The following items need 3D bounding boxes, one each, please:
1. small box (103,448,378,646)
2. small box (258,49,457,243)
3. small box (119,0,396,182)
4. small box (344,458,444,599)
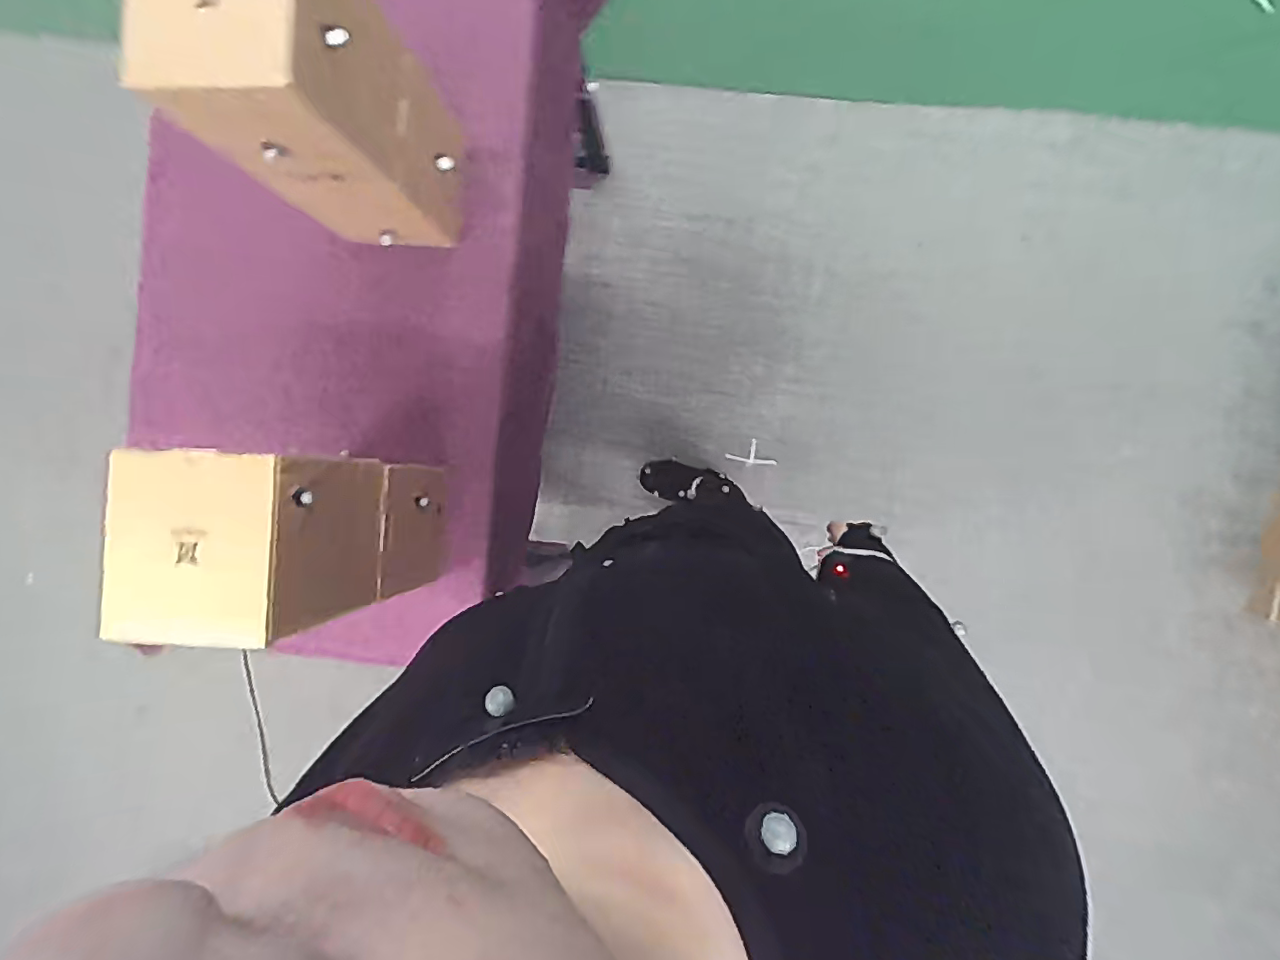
[{"bbox_3d":[-0.399,0.060,0.568,0.168,0.176,0.179,1,89,5],"label":"small box"},{"bbox_3d":[-0.362,-0.434,0.723,0.179,0.176,0.168,5,91,4],"label":"small box"},{"bbox_3d":[-0.374,-0.435,0.558,0.168,0.176,0.179,4,91,5],"label":"small box"},{"bbox_3d":[-0.384,0.055,0.730,0.179,0.176,0.168,4,90,6],"label":"small box"}]
